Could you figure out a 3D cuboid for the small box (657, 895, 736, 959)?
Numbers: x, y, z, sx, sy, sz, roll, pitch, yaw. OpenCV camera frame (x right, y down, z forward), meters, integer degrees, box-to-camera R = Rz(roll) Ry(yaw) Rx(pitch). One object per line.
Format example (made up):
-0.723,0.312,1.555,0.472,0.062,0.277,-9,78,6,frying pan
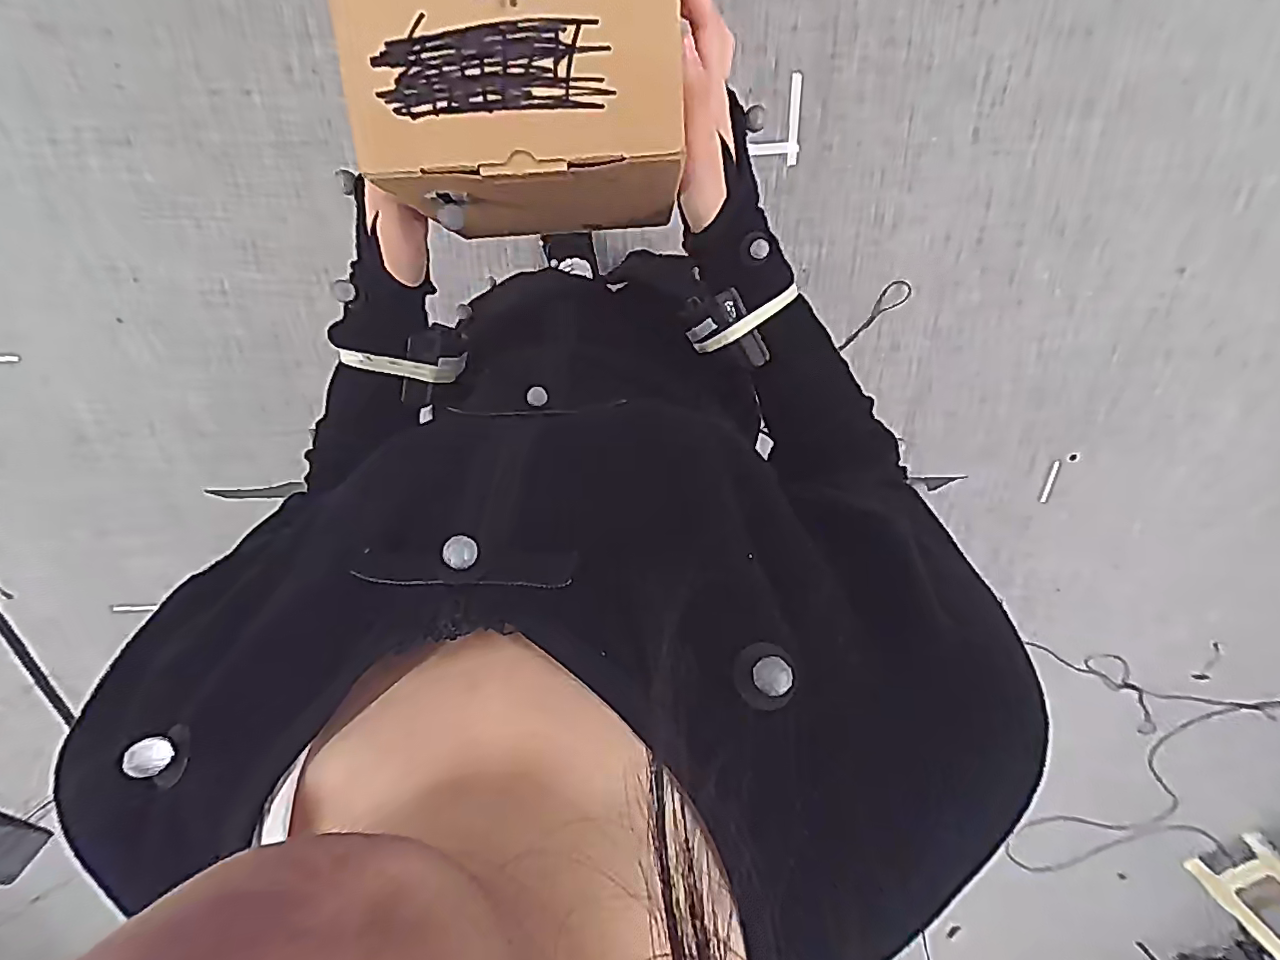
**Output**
0.128,1.085,1.229,0.168,0.176,0.179,-4,117,-1,small box
